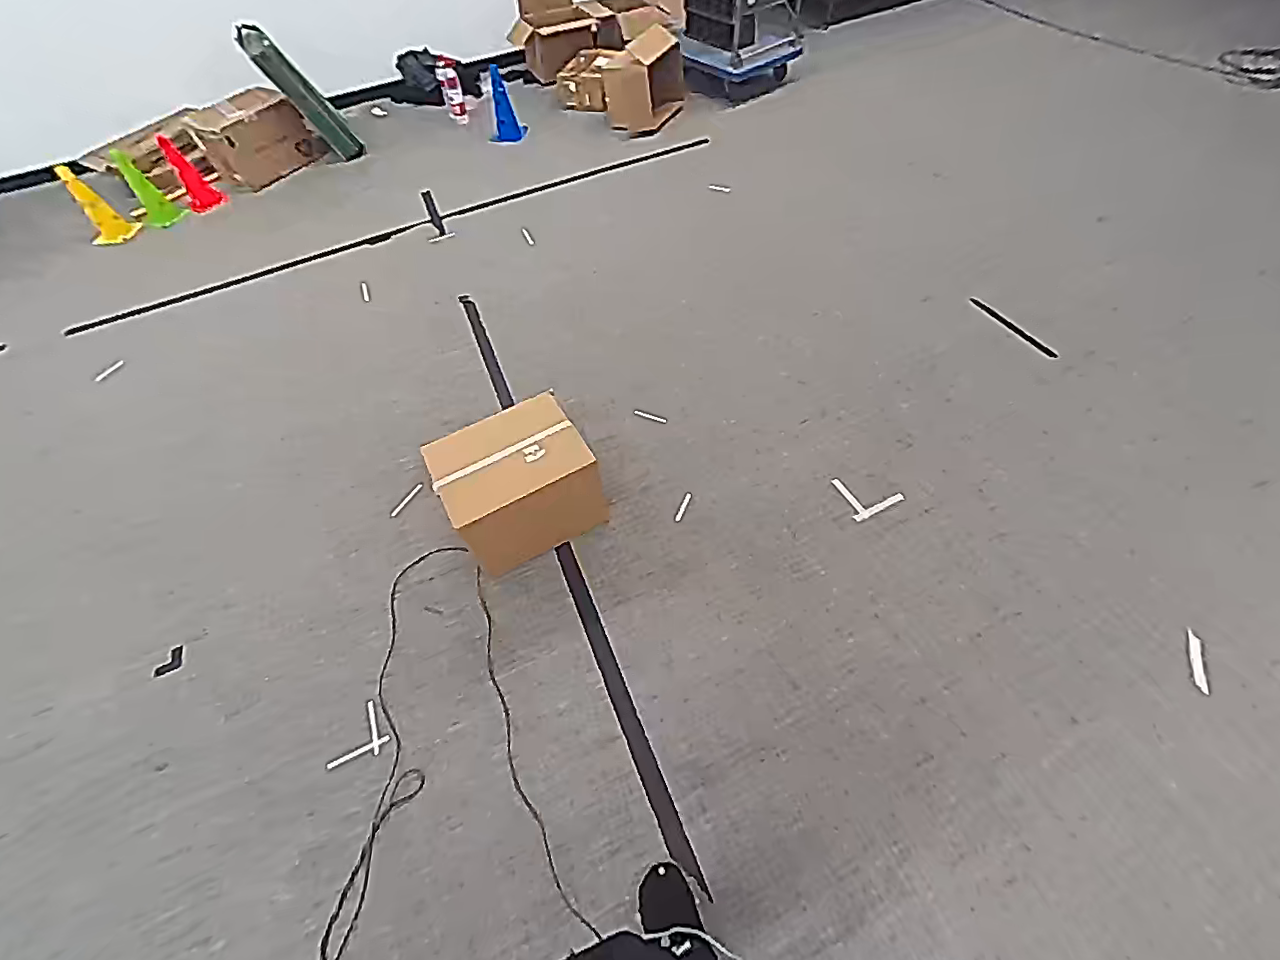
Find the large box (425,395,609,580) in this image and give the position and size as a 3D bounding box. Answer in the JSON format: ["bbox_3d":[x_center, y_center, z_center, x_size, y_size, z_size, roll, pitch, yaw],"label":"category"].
[{"bbox_3d":[-0.348,0.023,1.596,0.408,0.320,0.320,-26,57,-14],"label":"large box"}]
